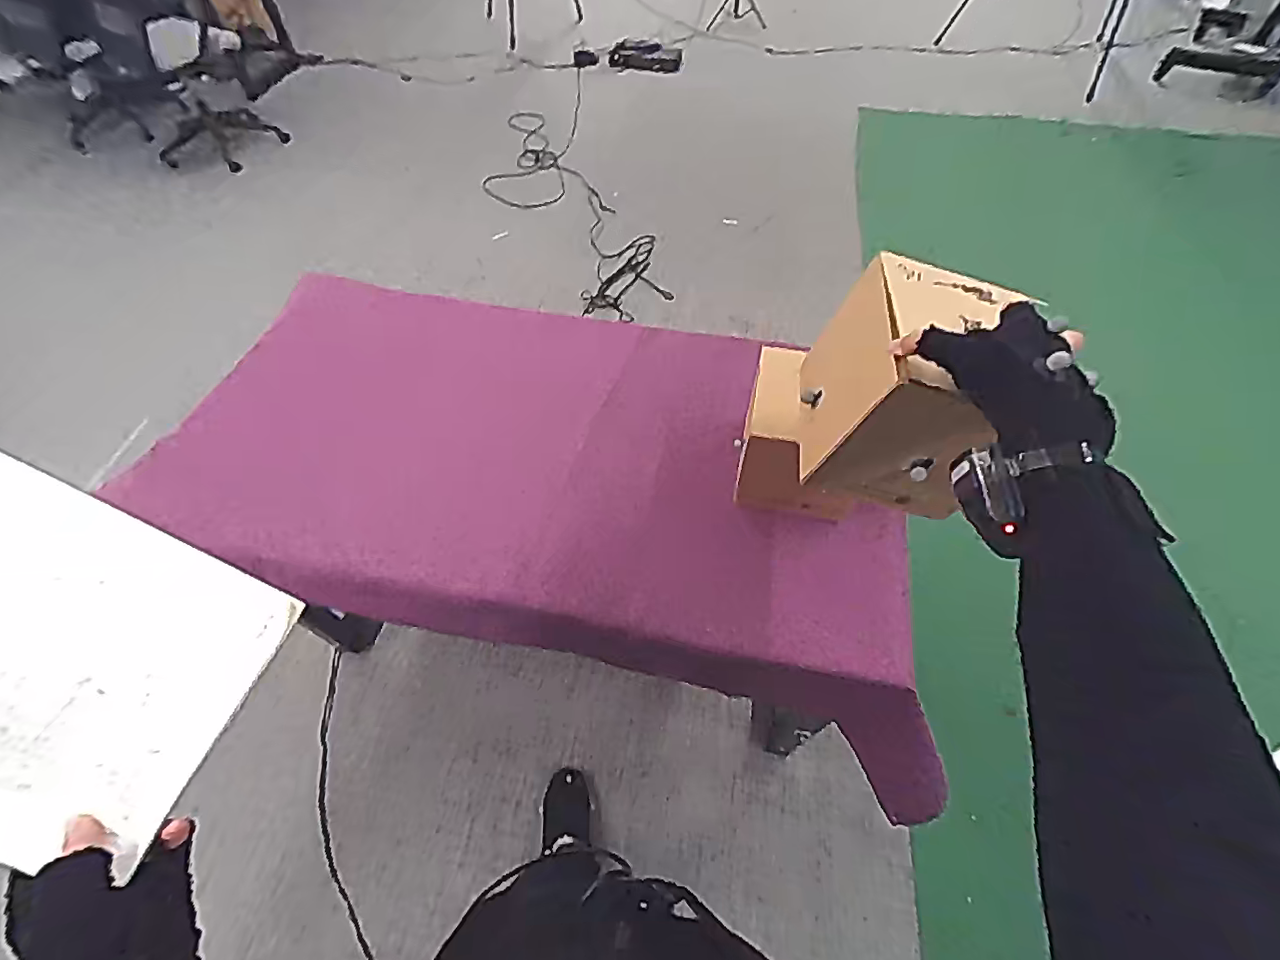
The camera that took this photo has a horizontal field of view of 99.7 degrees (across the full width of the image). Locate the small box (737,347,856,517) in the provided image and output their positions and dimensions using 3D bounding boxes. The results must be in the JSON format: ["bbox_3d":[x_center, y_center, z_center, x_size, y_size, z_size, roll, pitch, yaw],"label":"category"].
[{"bbox_3d":[0.243,-0.066,0.803,0.168,0.176,0.179,11,56,8],"label":"small box"}]

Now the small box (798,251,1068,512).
[{"bbox_3d":[0.274,-0.089,0.552,0.168,0.176,0.179,15,57,-6],"label":"small box"}]
